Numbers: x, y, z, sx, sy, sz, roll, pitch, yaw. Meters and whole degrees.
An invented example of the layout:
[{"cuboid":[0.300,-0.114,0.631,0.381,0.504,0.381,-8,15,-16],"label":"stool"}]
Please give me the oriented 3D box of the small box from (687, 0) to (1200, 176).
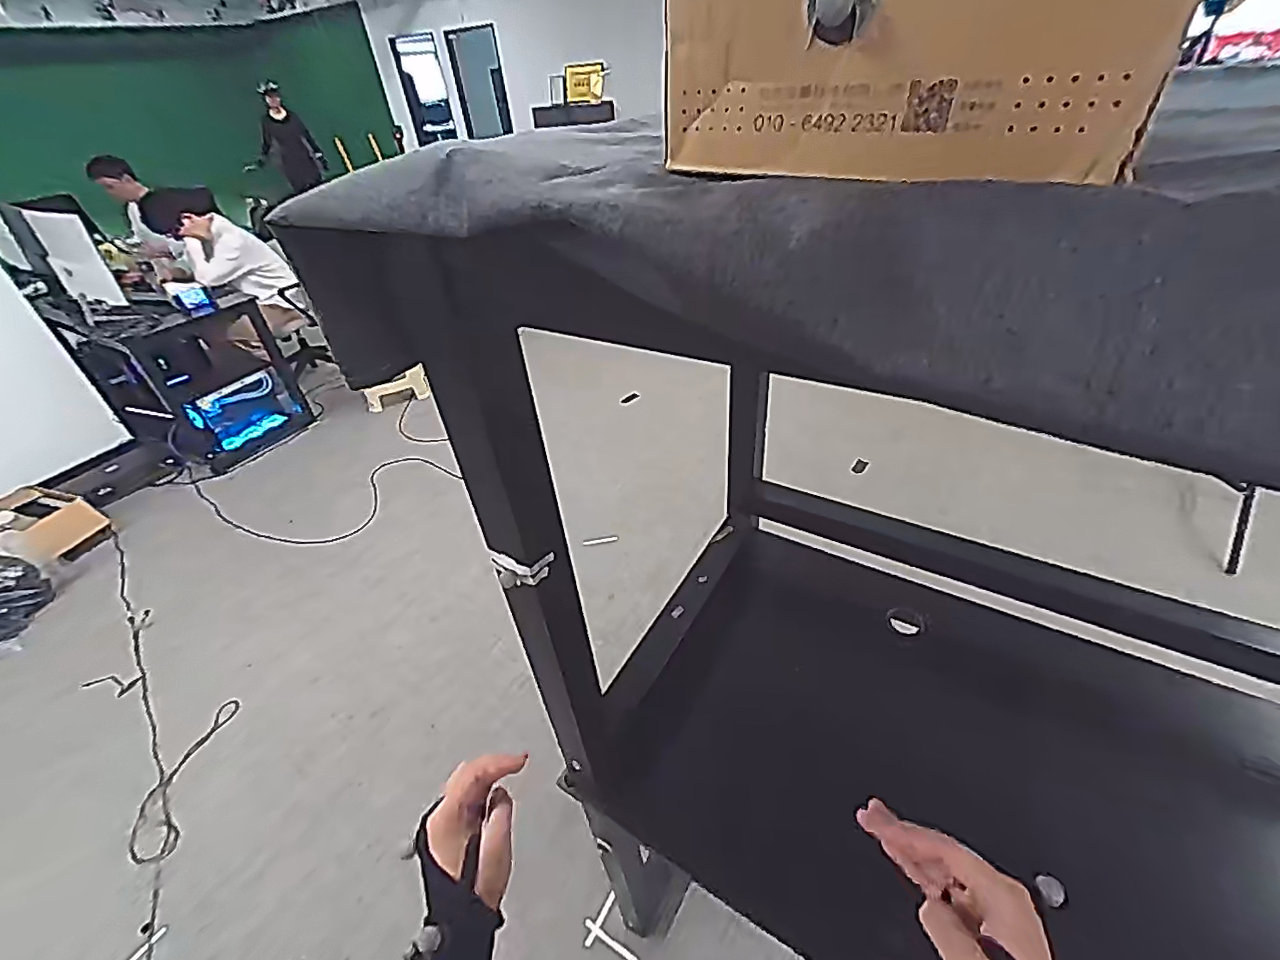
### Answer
[{"cuboid":[0.124,-0.230,0.210,0.168,0.176,0.179,19,42,26],"label":"small box"}]
